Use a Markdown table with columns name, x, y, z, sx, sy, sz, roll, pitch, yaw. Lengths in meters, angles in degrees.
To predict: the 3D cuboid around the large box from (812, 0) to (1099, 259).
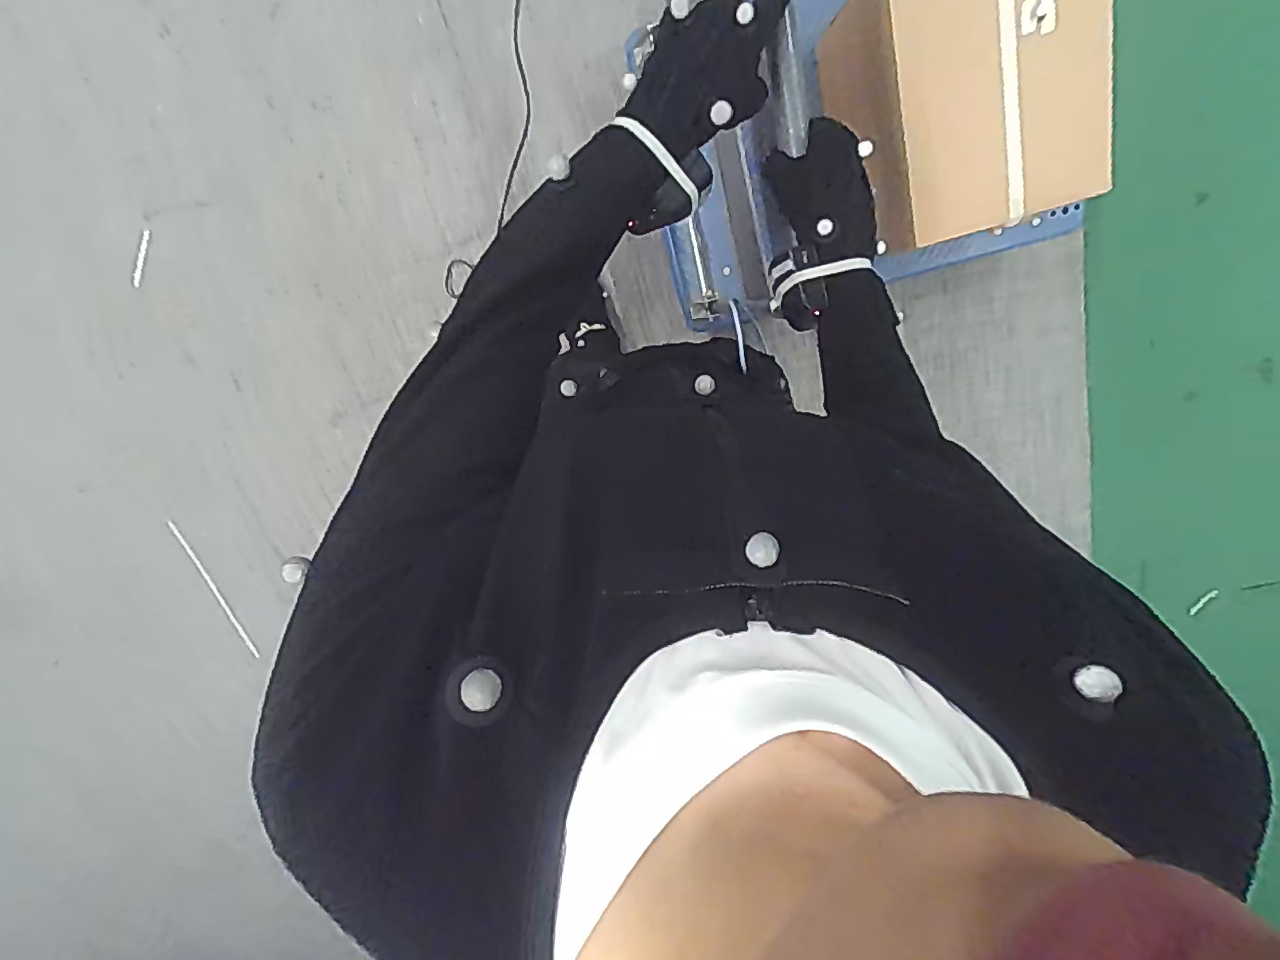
| name | x | y | z | sx | sy | sz | roll | pitch | yaw |
| --- | --- | --- | --- | --- | --- | --- | --- | --- | --- |
| large box | 0.532 | -0.652 | 0.961 | 0.320 | 0.320 | 0.408 | -16 | 107 | 3 |
